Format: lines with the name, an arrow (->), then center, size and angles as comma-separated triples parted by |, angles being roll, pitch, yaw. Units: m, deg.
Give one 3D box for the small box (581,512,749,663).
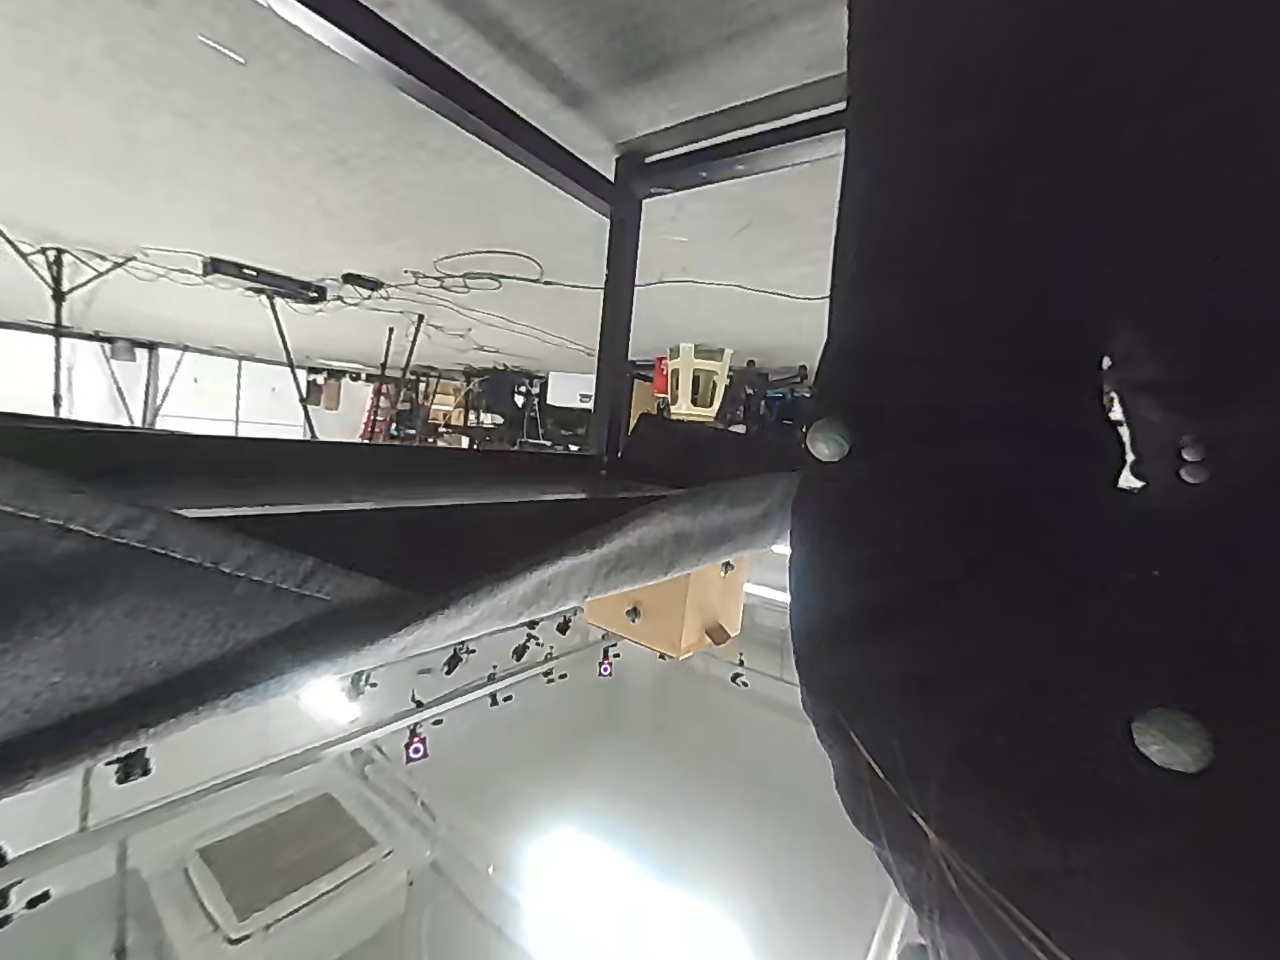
small box -> 0.040, 0.141, 0.787 | 0.179, 0.176, 0.168 | 9, -176, 38
